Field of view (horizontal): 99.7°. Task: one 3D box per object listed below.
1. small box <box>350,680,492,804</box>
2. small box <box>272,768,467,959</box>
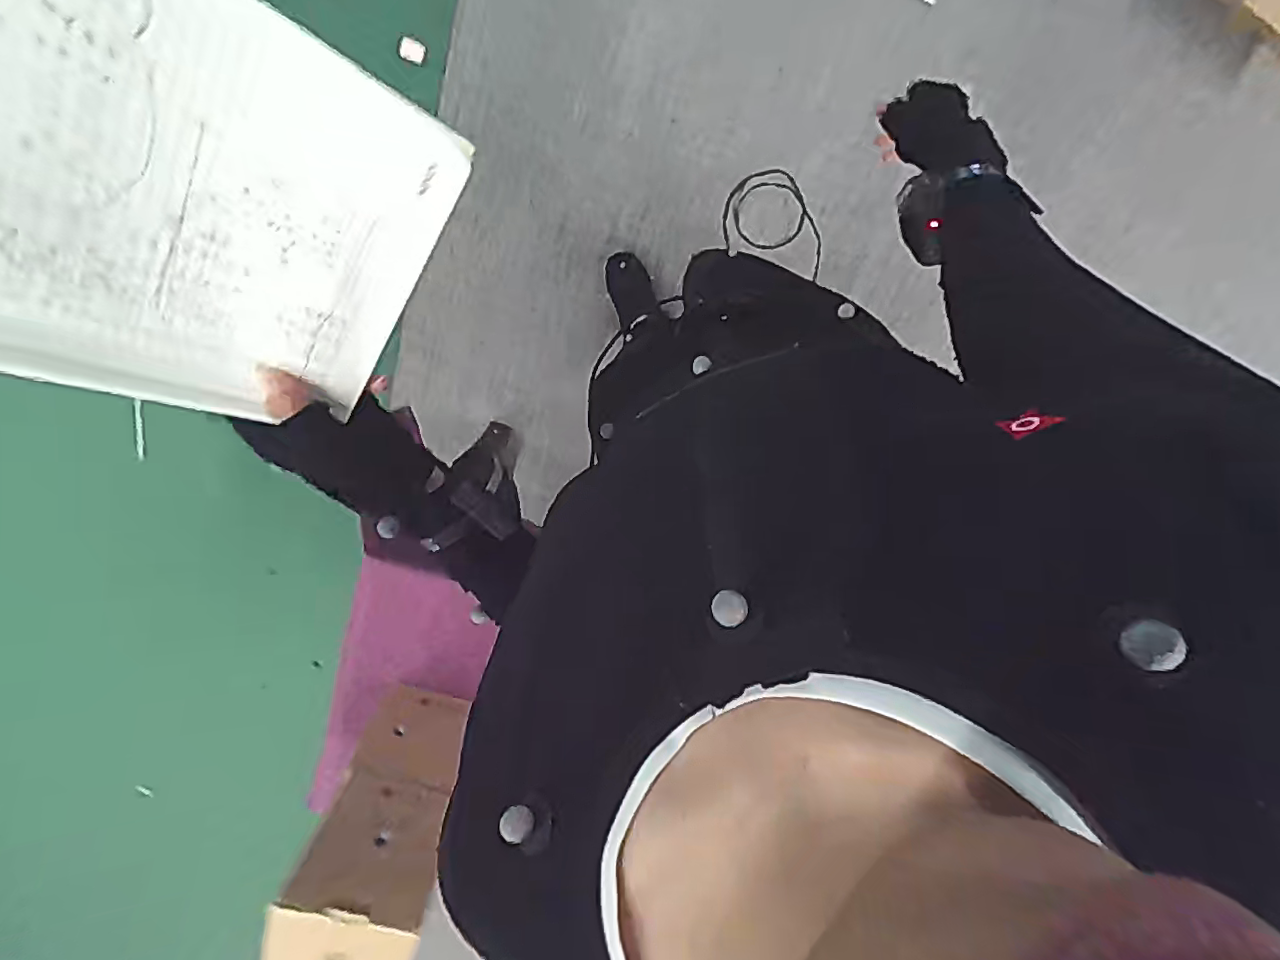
[{"bbox_3d":[-0.347,0.451,0.859,0.168,0.176,0.179,18,113,-7],"label":"small box"},{"bbox_3d":[-0.342,0.518,0.709,0.168,0.176,0.179,18,112,-7],"label":"small box"}]
